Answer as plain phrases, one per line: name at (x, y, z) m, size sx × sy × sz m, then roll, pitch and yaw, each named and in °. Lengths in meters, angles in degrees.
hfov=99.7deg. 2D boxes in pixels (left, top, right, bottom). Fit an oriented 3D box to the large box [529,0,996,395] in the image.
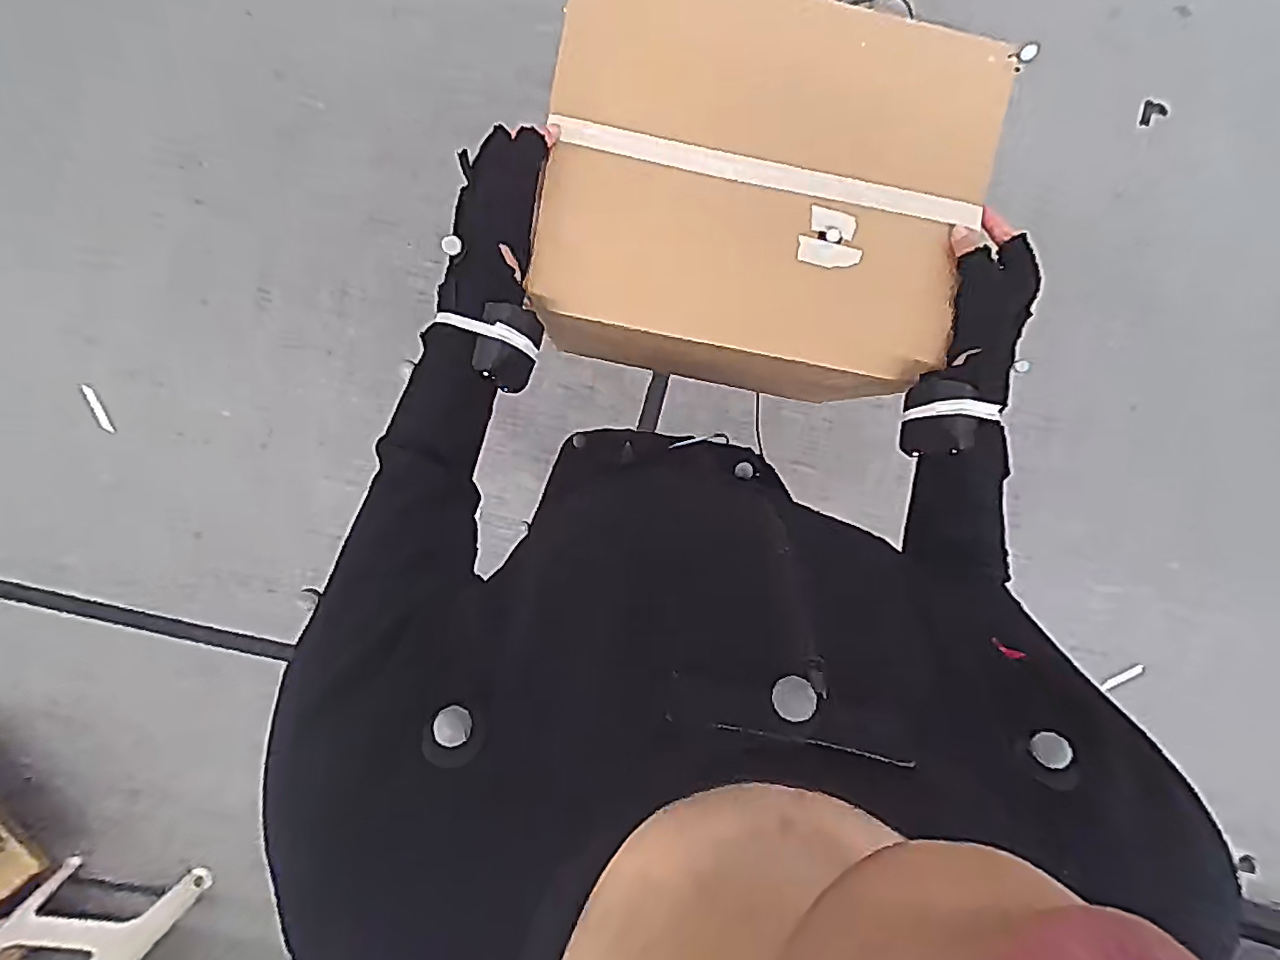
large box at (0.105, -0.297, 0.655) m, size 0.408 × 0.320 × 0.320 m, roll 11°, pitch 96°, yaw -4°
